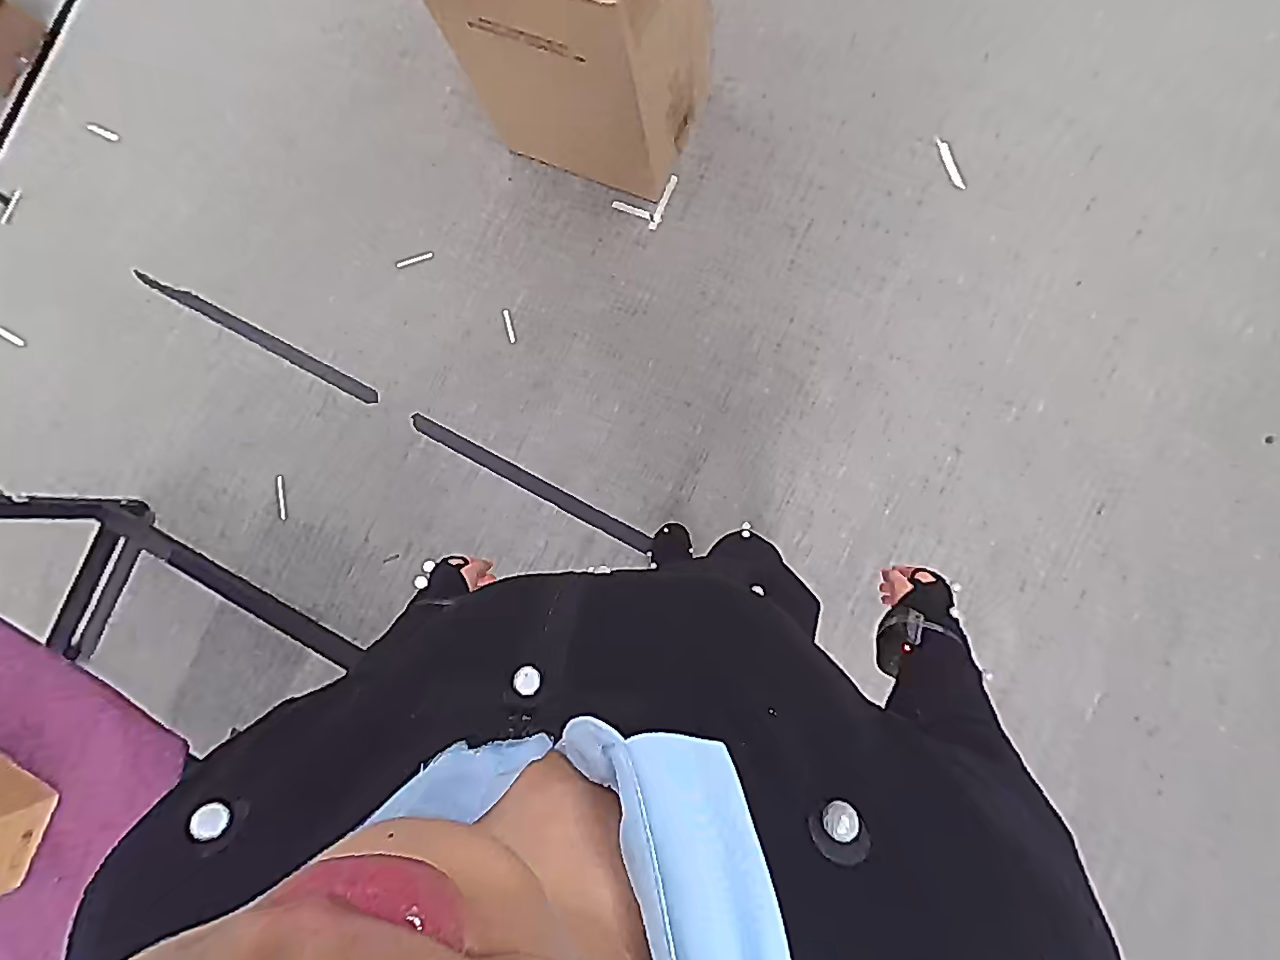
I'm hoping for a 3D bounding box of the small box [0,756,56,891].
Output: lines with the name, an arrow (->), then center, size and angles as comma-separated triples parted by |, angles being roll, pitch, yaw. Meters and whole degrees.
small box -> -1.077, 0.557, 0.829 | 0.179, 0.176, 0.168 | 23, 89, 11
